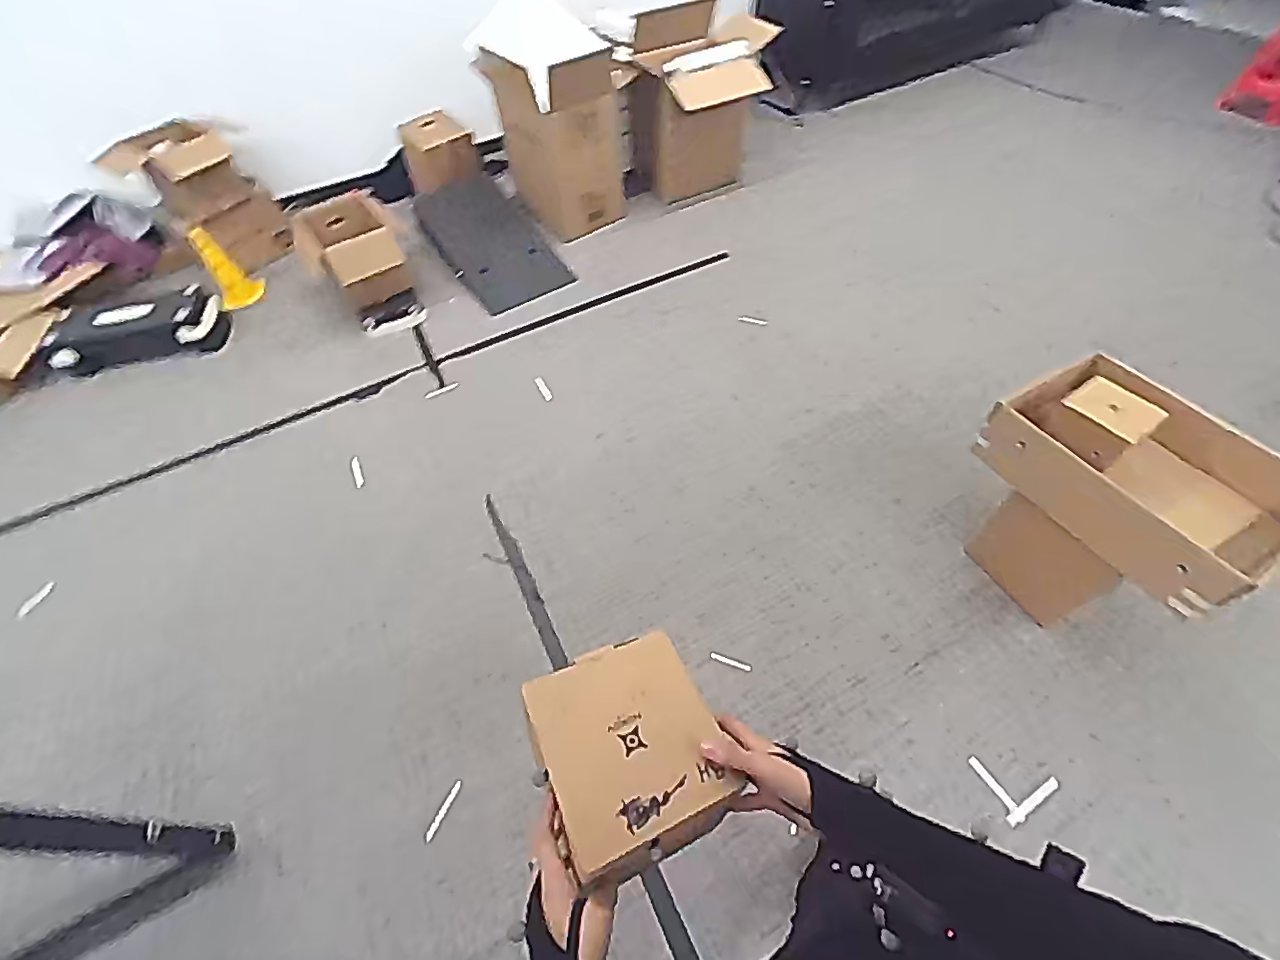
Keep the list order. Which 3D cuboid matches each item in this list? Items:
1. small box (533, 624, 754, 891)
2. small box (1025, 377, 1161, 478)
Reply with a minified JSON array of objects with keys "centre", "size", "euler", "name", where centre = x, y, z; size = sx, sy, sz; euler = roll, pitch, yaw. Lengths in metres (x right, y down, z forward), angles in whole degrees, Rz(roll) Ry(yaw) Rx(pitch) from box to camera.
[{"centre":[-0.010,0.292,0.577],"size":[0.168,0.176,0.179],"euler":[-15,49,-21],"name":"small box"},{"centre":[1.159,-0.128,1.398],"size":[0.168,0.176,0.179],"euler":[-29,56,-18],"name":"small box"}]
